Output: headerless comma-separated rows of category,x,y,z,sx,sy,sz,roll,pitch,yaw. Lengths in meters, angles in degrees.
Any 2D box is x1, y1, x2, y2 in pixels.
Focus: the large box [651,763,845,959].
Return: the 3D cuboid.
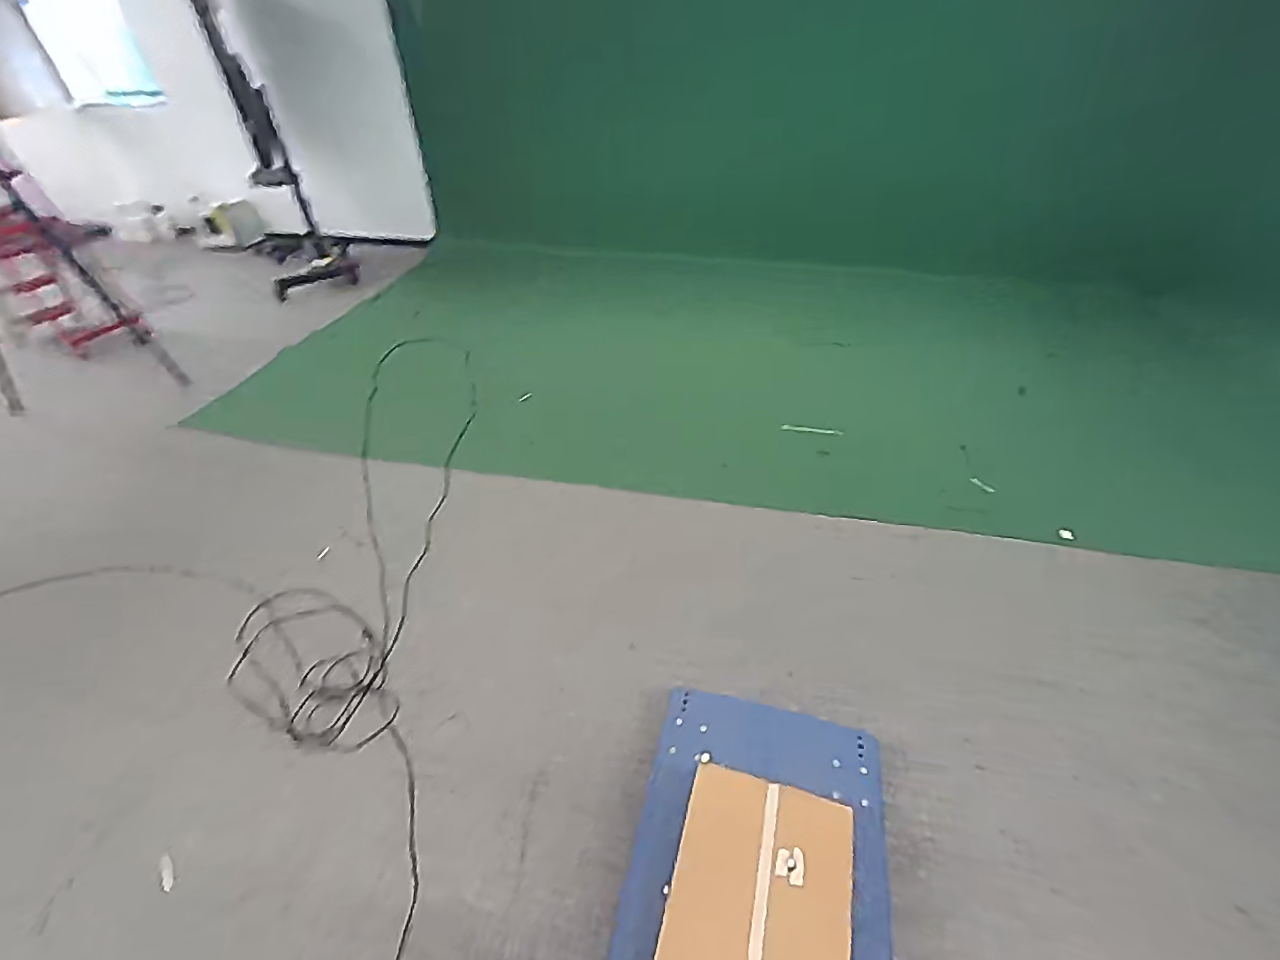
large box,0.207,0.862,1.059,0.320,0.320,0.408,11,41,13
